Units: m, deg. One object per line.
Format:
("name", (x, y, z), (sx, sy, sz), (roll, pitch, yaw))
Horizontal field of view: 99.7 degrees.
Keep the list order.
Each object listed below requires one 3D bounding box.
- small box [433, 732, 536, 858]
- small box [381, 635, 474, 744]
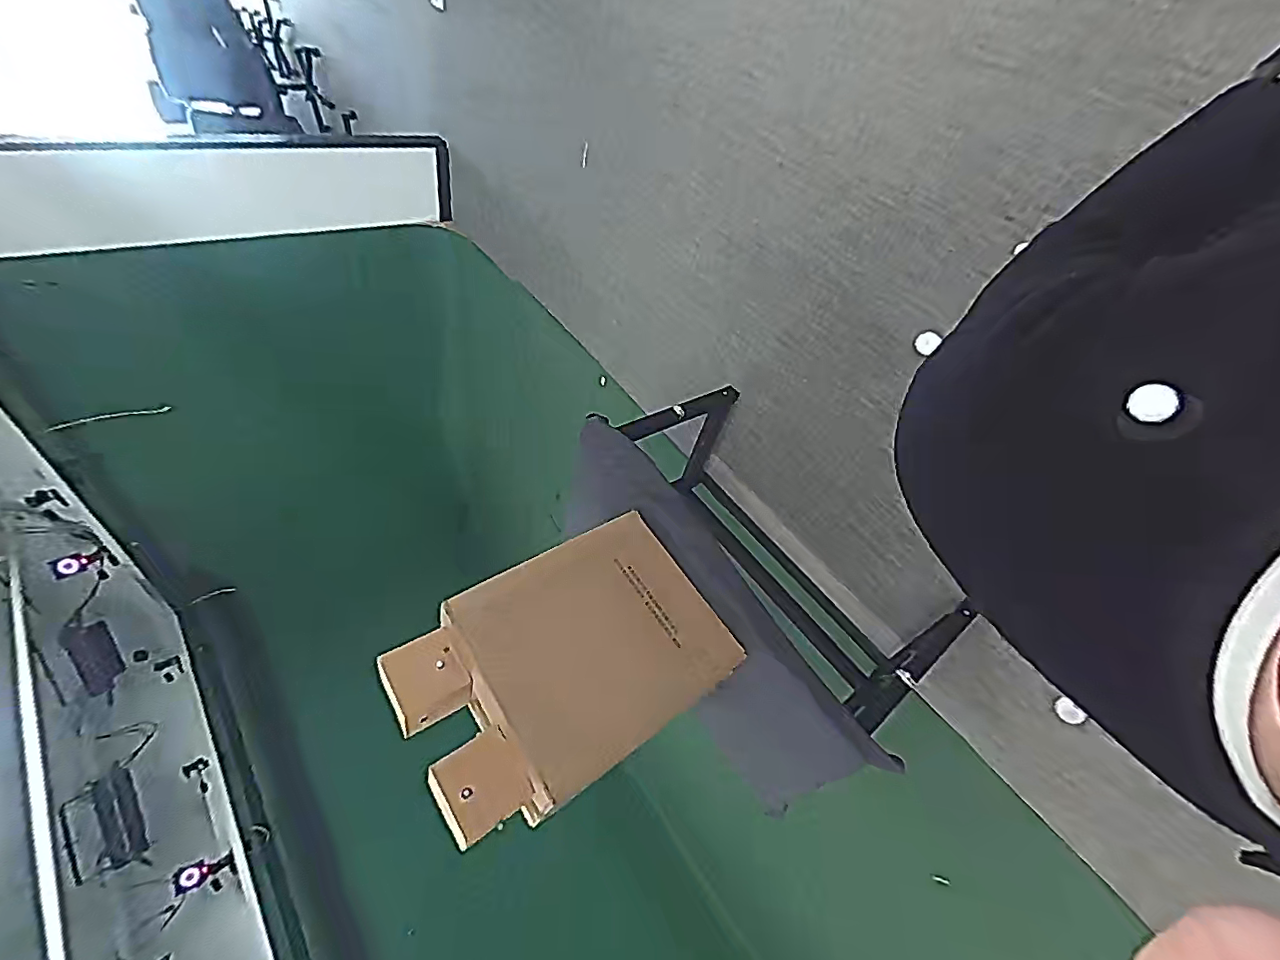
("small box", (-0.357, 0.718, 1.239), (0.179, 0.176, 0.168), (52, 141, 23))
("small box", (-0.531, 0.524, 1.360), (0.168, 0.176, 0.179), (52, 142, 23))
